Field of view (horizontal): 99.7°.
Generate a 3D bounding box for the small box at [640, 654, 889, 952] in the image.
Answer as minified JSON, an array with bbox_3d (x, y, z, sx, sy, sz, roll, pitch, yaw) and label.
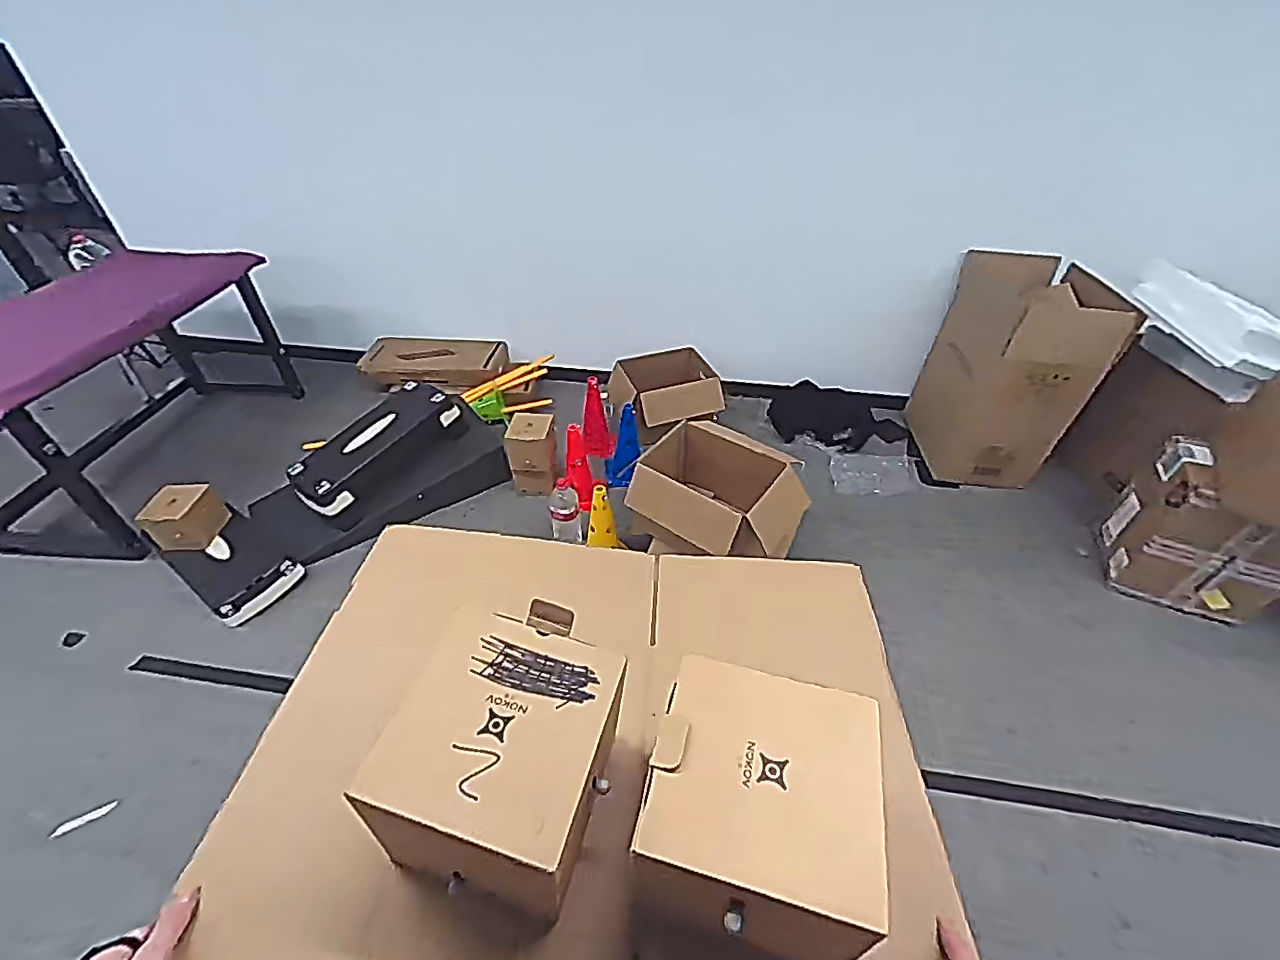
[{"bbox_3d":[0.107,0.291,0.489,0.179,0.176,0.168,9,42,13],"label":"small box"}]
